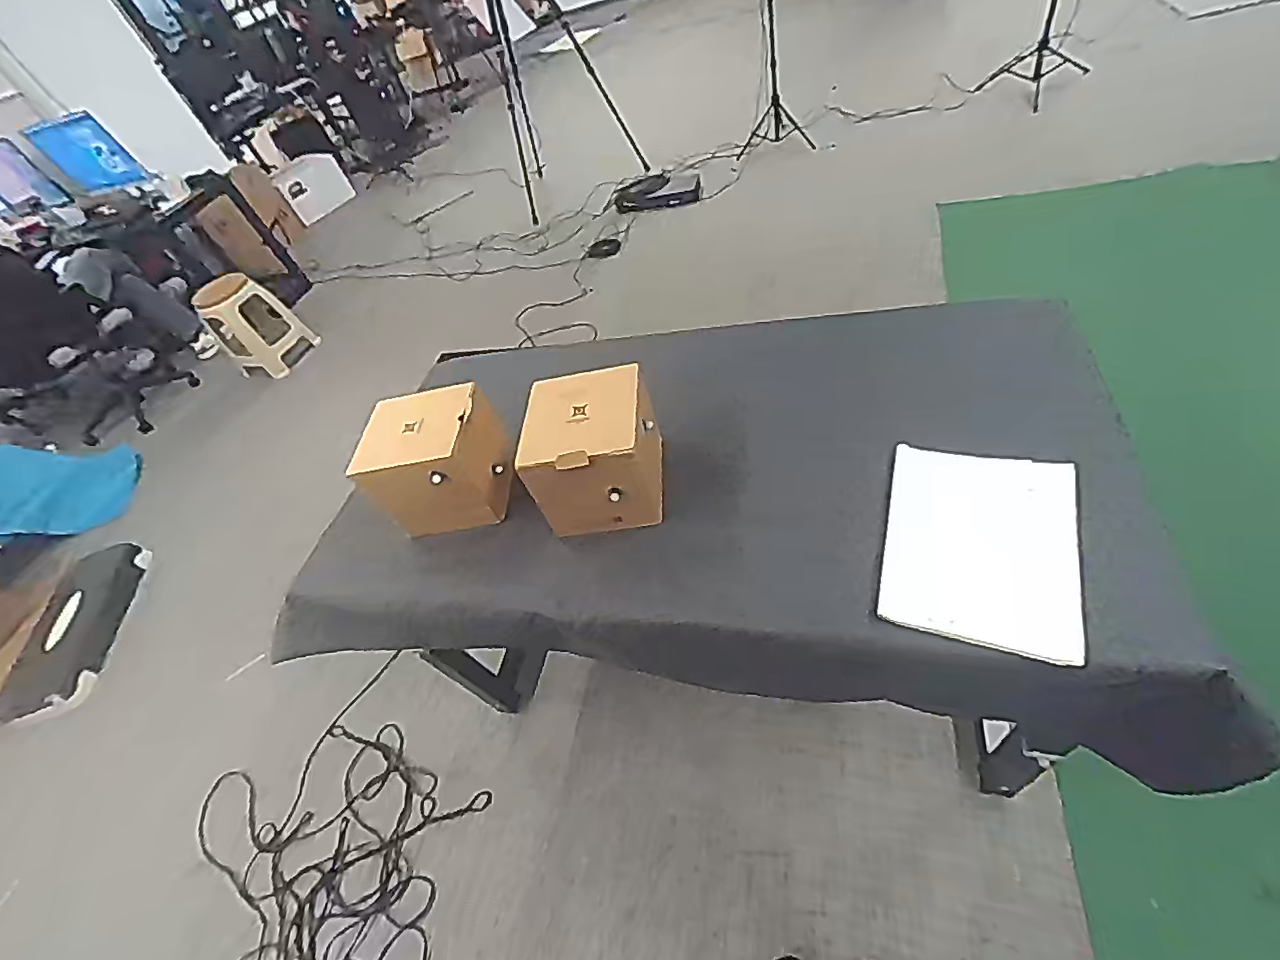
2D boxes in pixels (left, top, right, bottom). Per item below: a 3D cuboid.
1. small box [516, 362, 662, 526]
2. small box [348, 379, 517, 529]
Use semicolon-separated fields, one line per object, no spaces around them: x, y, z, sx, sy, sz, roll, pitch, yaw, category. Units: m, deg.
-0.063;-0.045;0.805;0.168;0.176;0.179;-7;48;11;small box
-0.324;-0.035;0.883;0.179;0.176;0.168;-9;48;10;small box
